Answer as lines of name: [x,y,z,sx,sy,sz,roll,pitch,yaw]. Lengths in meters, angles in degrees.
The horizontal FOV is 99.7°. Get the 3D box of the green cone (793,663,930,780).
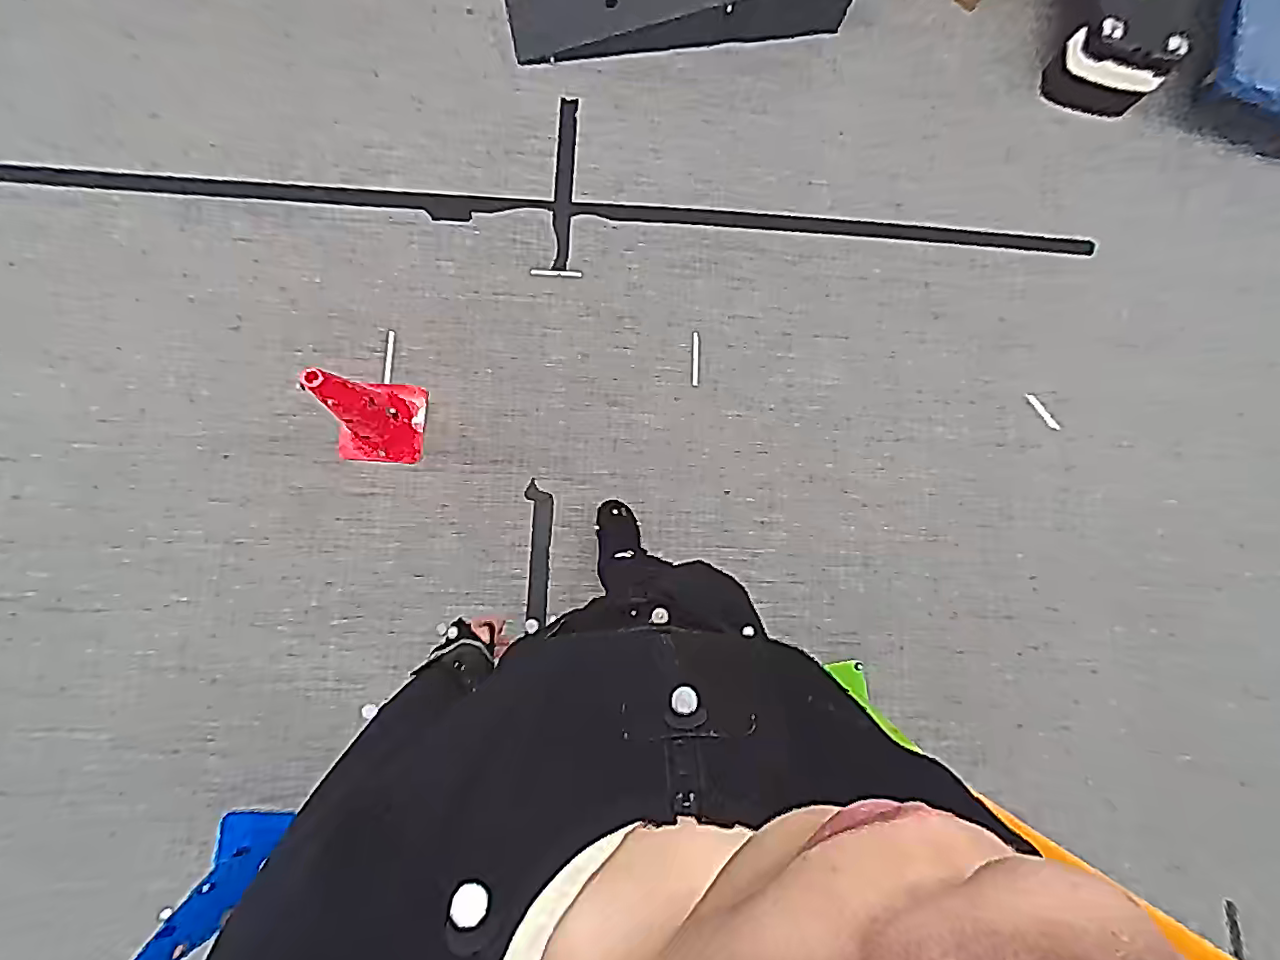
green cone: [0.504,0.555,1.187,0.200,0.368,0.202,-8,85,-6]

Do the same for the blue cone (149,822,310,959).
blue cone: [-0.822,0.841,1.037,0.193,0.380,0.192,5,82,-4]
